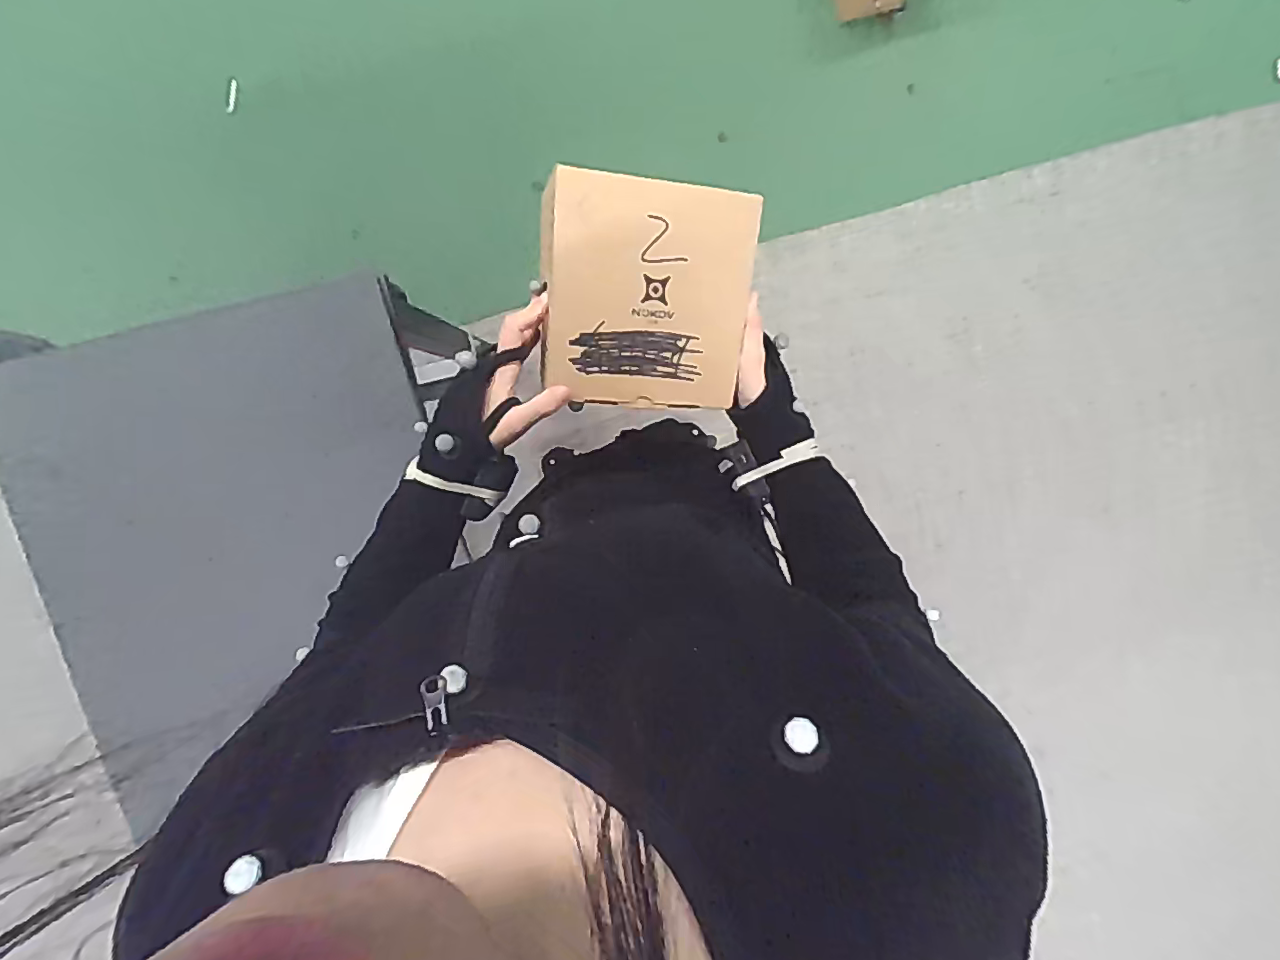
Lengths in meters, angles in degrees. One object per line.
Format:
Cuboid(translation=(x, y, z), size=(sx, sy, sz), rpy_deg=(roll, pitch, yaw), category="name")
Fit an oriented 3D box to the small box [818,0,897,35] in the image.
Cuboid(translation=(0.530, -1.232, 1.297), size=(0.168, 0.176, 0.179), rpy_deg=(-14, 96, 0), category="small box")
